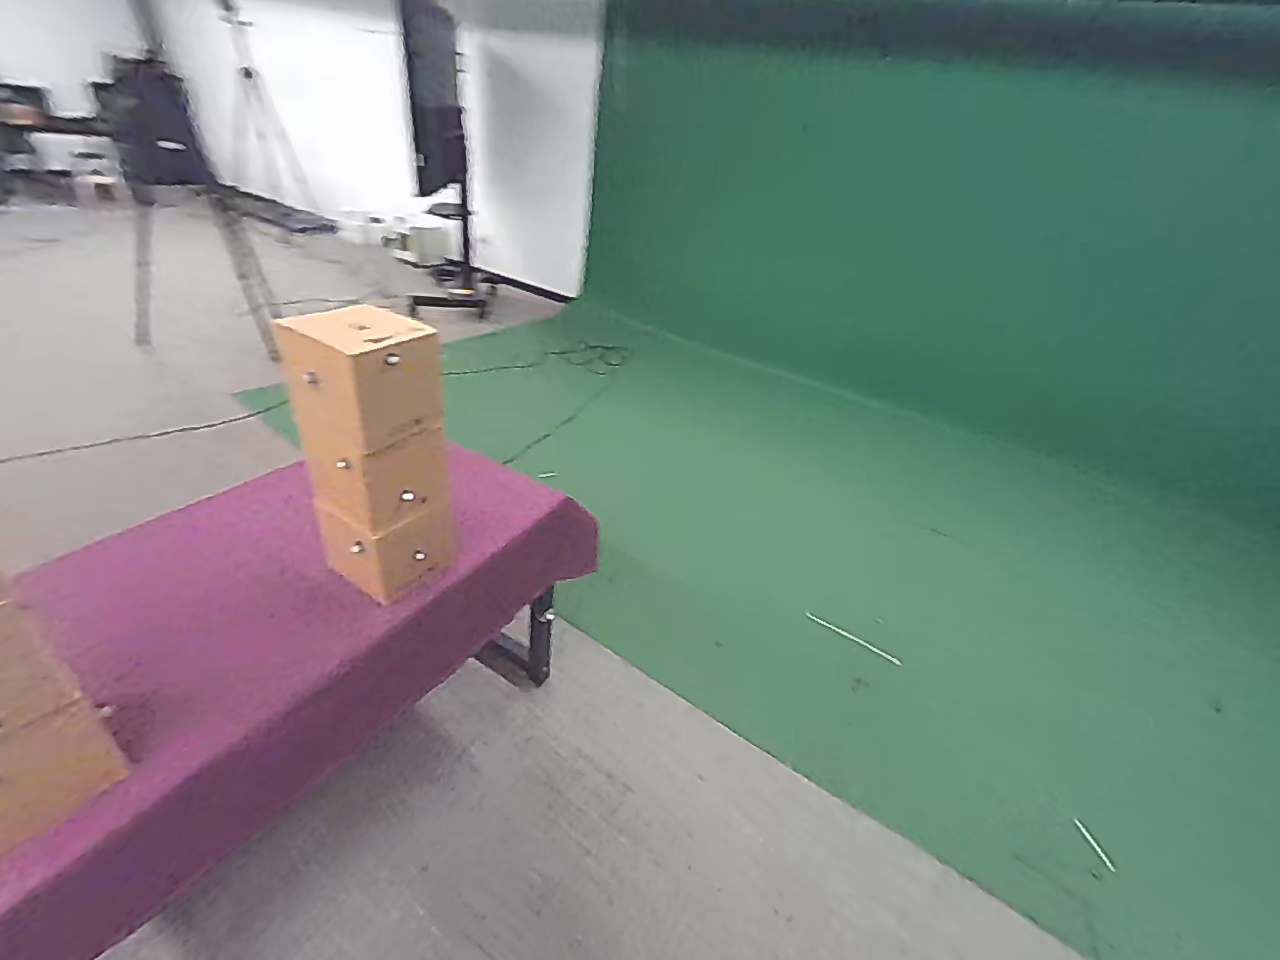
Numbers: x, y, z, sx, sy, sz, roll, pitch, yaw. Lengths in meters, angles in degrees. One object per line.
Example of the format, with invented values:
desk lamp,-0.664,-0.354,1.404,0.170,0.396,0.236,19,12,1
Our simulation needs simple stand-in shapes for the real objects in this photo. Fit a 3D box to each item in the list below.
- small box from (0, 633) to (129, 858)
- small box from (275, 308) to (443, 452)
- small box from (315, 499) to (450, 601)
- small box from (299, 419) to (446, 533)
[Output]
small box,-0.780,0.330,0.650,0.168,0.176,0.179,26,36,25
small box,-0.450,-0.167,0.887,0.179,0.176,0.168,22,36,20
small box,-0.492,0.109,1.059,0.179,0.176,0.168,24,35,23
small box,-0.474,-0.031,0.978,0.179,0.176,0.168,25,36,22
